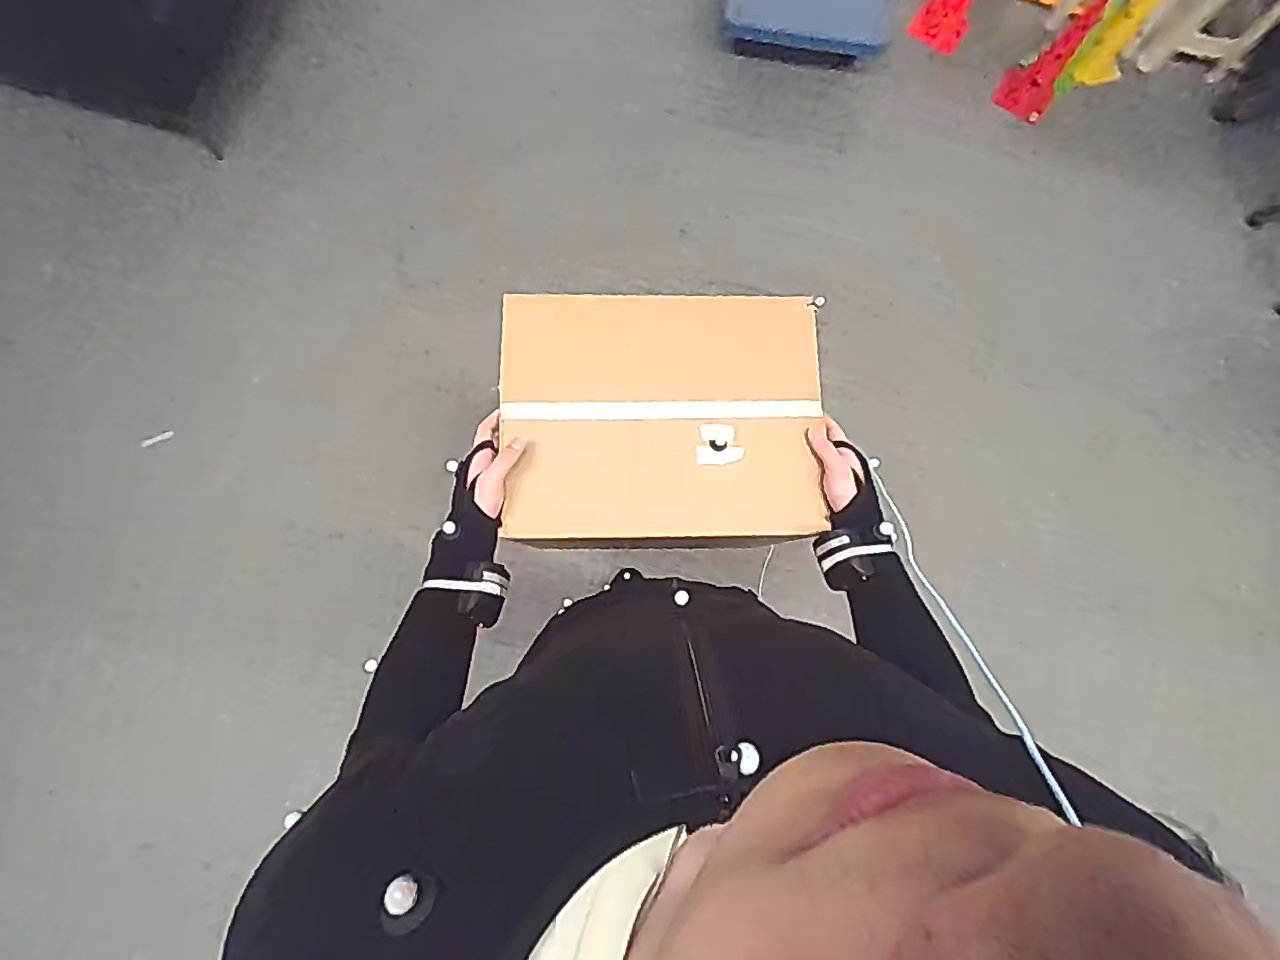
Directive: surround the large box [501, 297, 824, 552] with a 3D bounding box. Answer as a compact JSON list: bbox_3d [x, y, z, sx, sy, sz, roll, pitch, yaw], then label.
[{"bbox_3d":[0.015,-0.061,0.828,0.408,0.320,0.320,-1,80,-4],"label":"large box"}]
